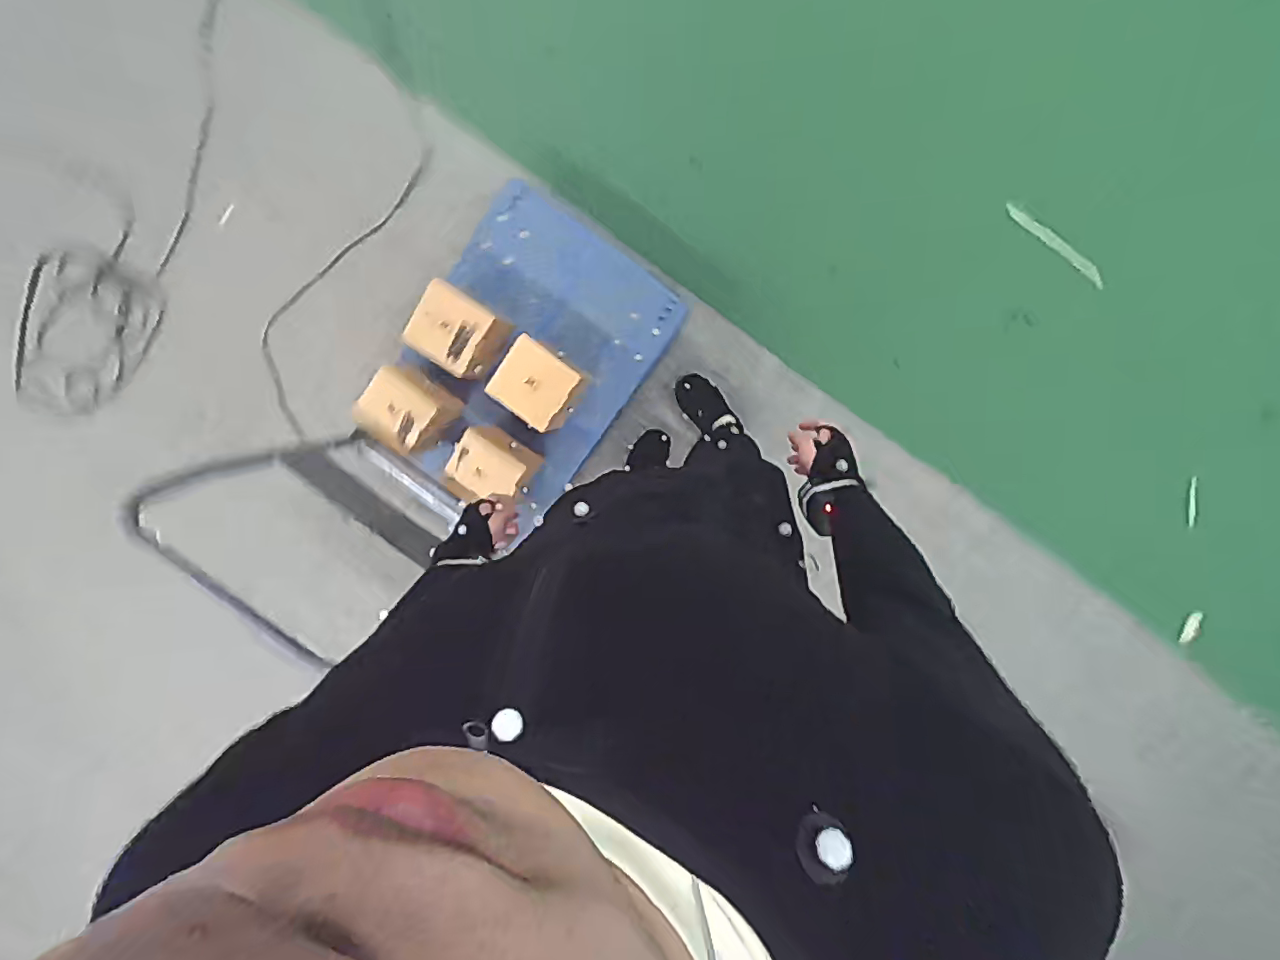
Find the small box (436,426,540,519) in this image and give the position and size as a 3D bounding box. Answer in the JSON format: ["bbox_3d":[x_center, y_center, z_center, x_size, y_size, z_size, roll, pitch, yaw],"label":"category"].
[{"bbox_3d":[-0.386,-0.028,1.404,0.179,0.176,0.168,33,101,-1],"label":"small box"}]

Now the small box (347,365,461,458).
[{"bbox_3d":[-0.600,-0.181,1.399,0.179,0.176,0.168,38,100,-1],"label":"small box"}]
